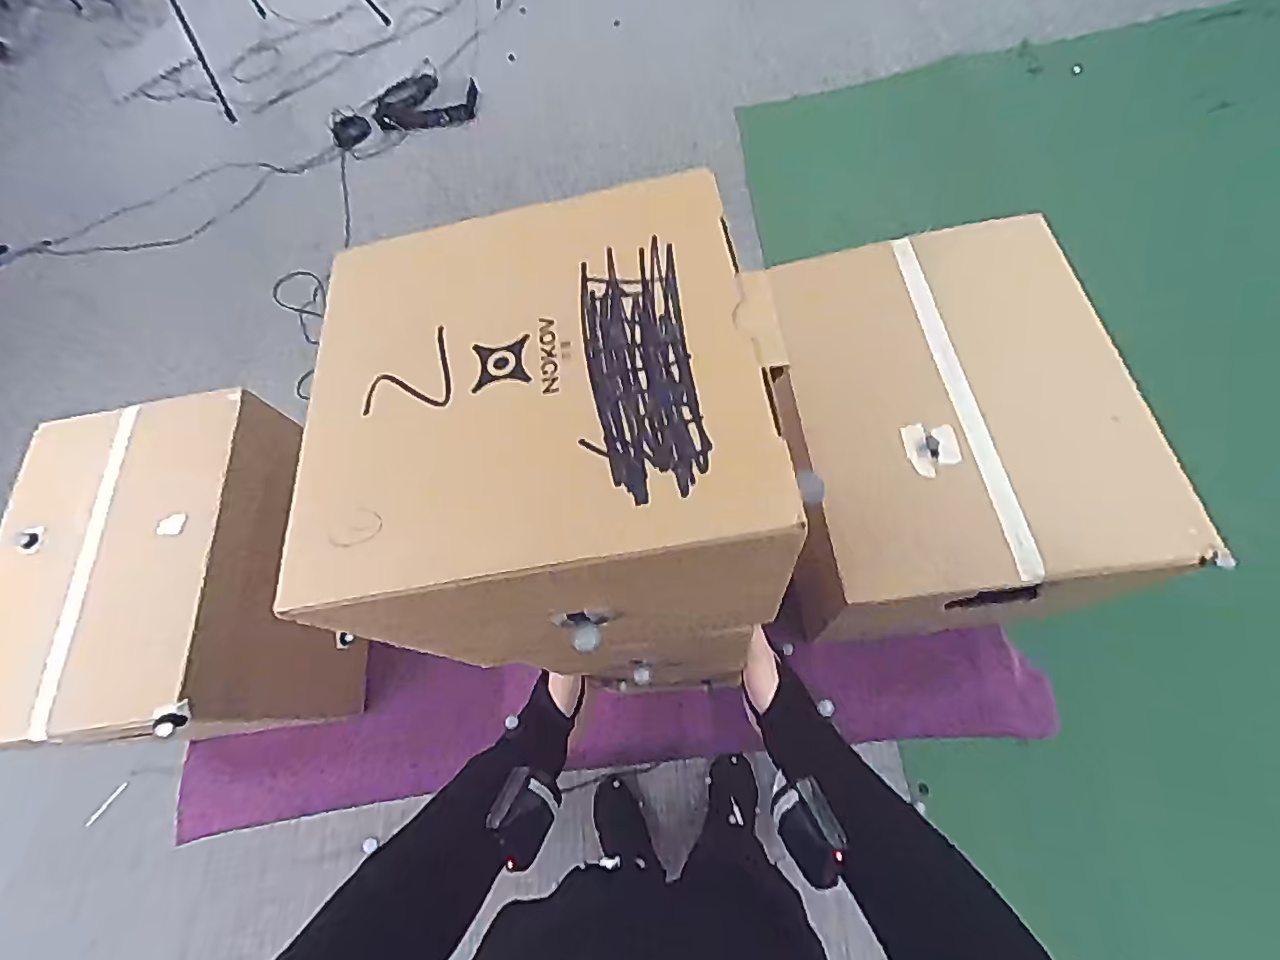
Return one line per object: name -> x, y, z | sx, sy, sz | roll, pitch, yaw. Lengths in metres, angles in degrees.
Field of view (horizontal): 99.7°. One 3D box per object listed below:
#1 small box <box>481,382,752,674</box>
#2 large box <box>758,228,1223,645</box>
small box -> -0.008, 0.049, 0.426 | 0.168, 0.176, 0.179 | -6, 65, 7
large box -> 0.343, -0.028, 0.683 | 0.320, 0.320, 0.408 | -9, 66, 7
